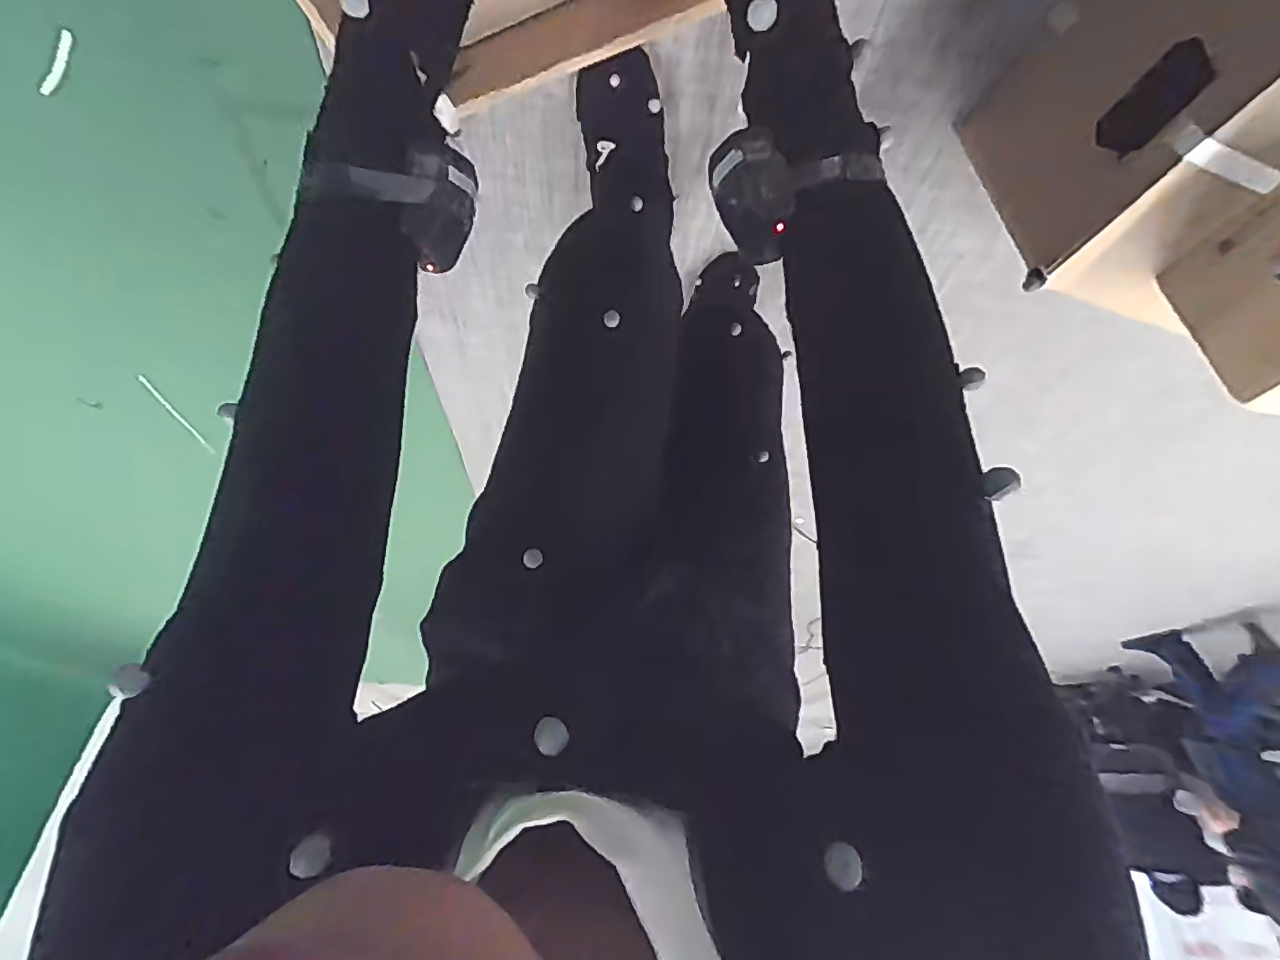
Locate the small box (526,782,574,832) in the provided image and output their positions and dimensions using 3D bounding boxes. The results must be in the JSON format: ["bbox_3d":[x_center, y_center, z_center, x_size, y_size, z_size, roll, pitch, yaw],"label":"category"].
[{"bbox_3d":[-0.364,1.339,2.218,0.168,0.176,0.179,3,150,0],"label":"small box"}]

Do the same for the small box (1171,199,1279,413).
[{"bbox_3d":[0.648,-0.167,0.479,0.179,0.176,0.168,8,149,-9],"label":"small box"}]
